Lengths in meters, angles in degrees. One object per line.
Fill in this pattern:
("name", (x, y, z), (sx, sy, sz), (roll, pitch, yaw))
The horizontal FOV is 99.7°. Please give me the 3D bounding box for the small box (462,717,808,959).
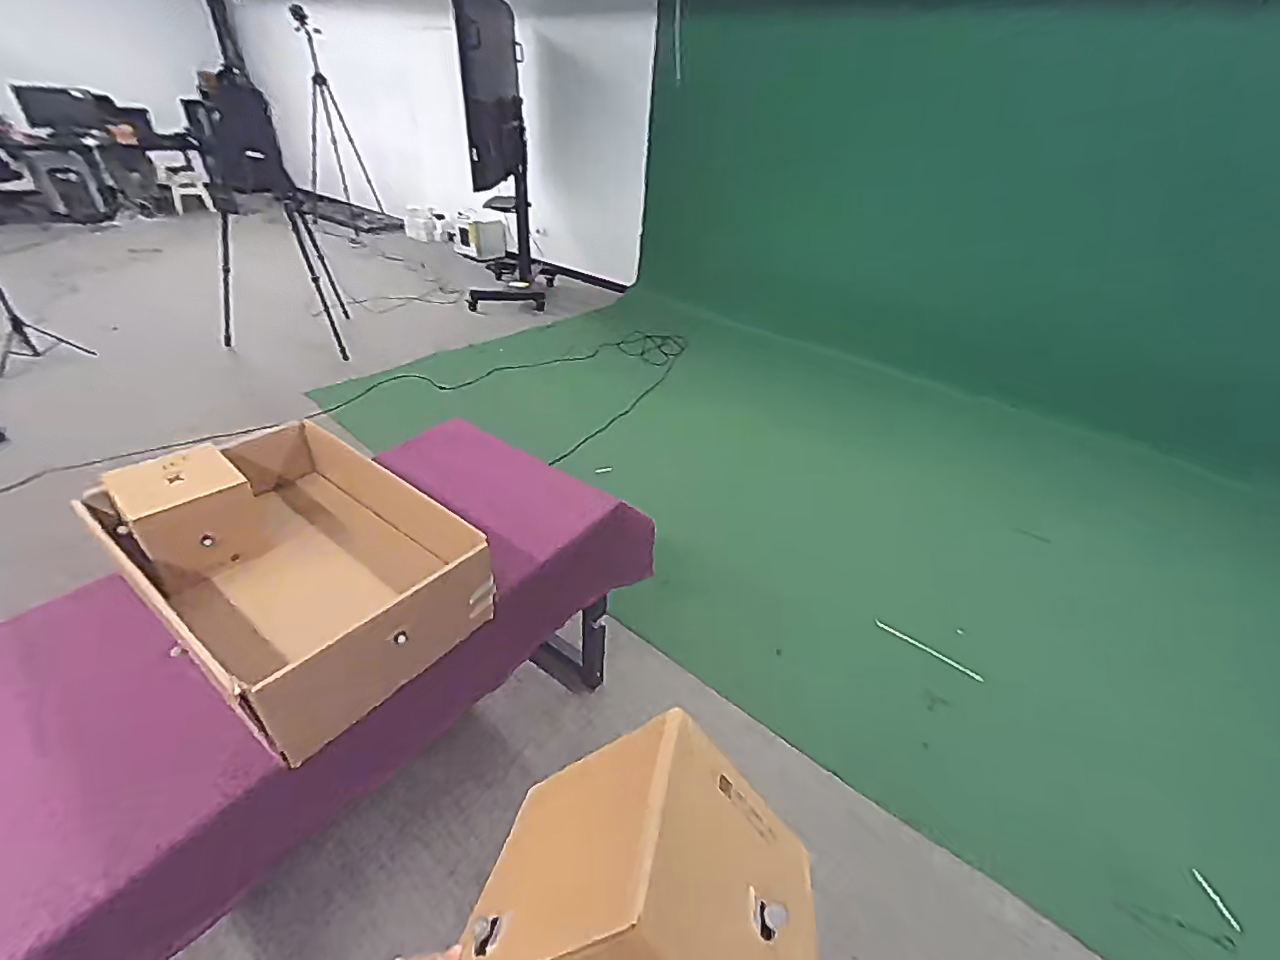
("small box", (0.004, 0.312, 0.392), (0.168, 0.179, 0.176), (49, 21, -2))
